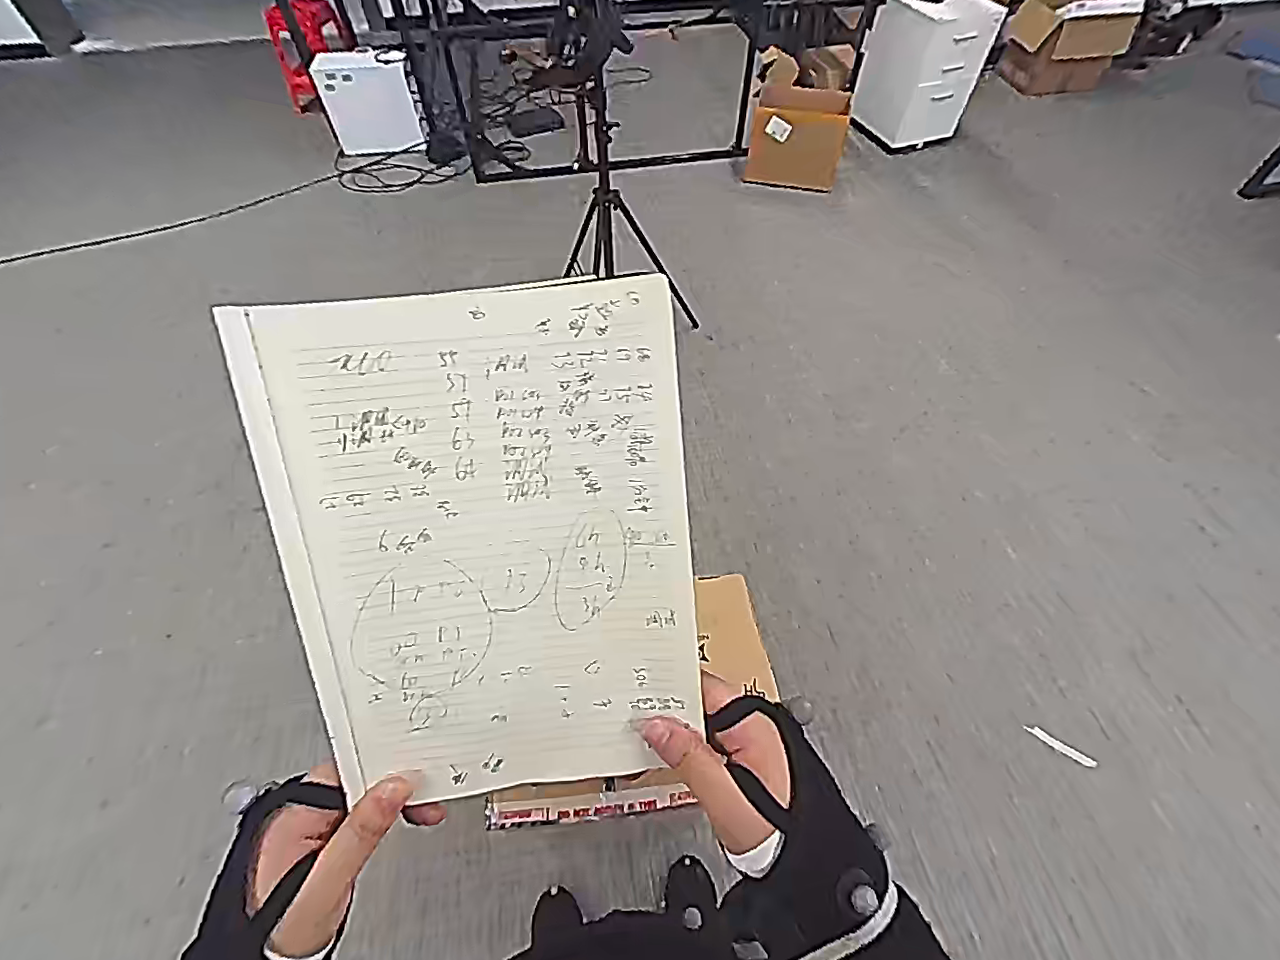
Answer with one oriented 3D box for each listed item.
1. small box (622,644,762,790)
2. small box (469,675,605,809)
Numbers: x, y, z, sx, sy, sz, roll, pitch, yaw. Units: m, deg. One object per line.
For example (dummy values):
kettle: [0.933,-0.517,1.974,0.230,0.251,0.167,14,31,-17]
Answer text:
small box: [0.069,0.376,0.853,0.179,0.176,0.168,-9,57,-8]
small box: [-0.144,0.406,0.832,0.179,0.176,0.168,-4,57,0]
